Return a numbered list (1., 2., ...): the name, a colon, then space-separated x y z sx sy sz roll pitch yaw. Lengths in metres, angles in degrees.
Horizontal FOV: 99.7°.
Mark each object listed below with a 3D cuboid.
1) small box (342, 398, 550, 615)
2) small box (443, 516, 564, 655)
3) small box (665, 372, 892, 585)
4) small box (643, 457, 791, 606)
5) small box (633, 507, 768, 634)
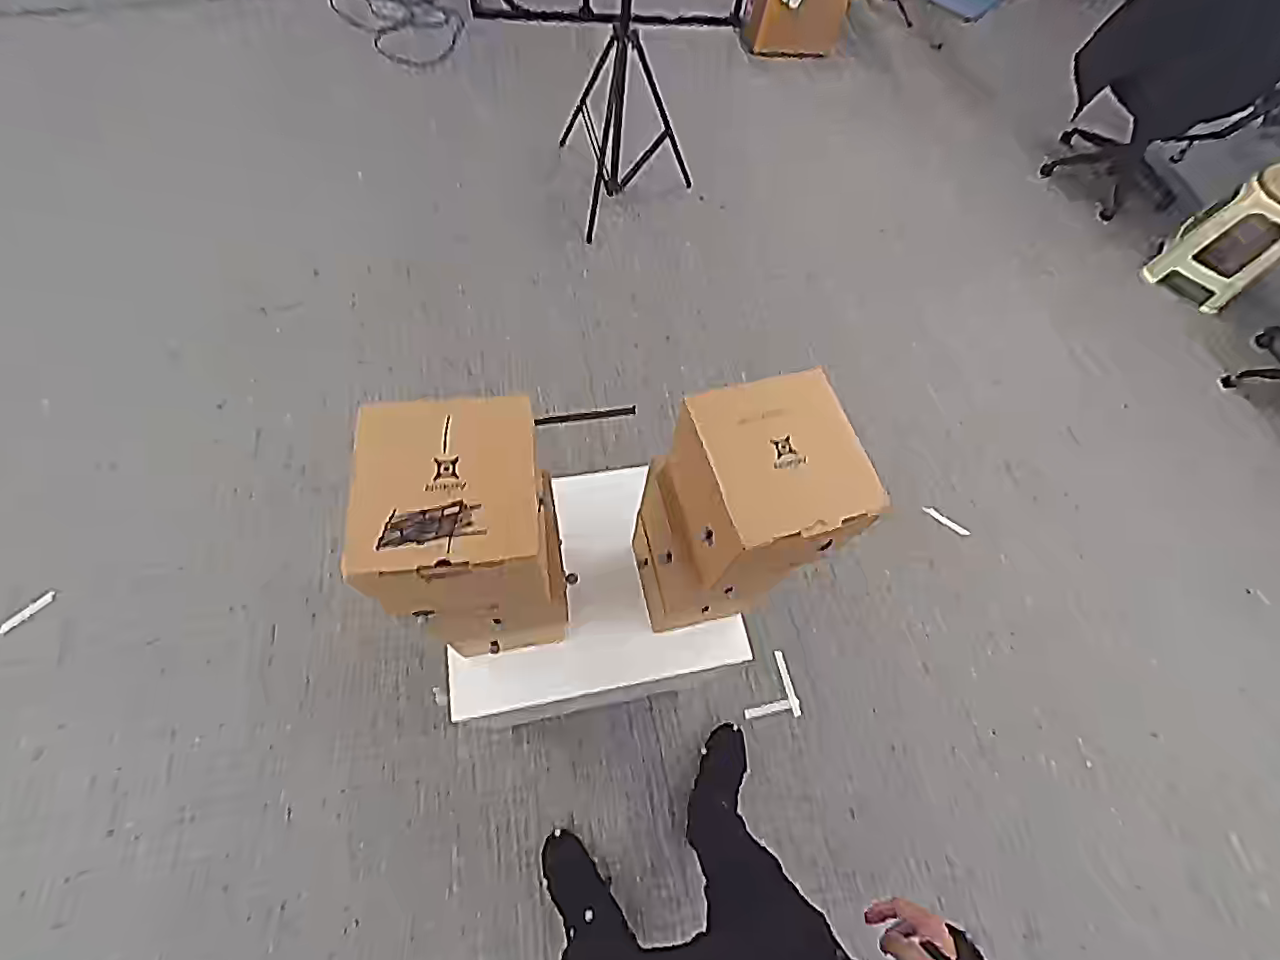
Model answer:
1. small box: -0.185 0.037 0.563 0.168 0.176 0.179 -5 64 -9
2. small box: -0.214 0.174 0.861 0.168 0.176 0.179 -7 65 -11
3. small box: 0.138 0.009 0.614 0.168 0.176 0.179 -14 66 -13
4. small box: 0.105 0.071 0.762 0.168 0.176 0.179 -9 66 -11
5. small box: 0.089 0.142 0.910 0.168 0.176 0.179 -11 66 -10
